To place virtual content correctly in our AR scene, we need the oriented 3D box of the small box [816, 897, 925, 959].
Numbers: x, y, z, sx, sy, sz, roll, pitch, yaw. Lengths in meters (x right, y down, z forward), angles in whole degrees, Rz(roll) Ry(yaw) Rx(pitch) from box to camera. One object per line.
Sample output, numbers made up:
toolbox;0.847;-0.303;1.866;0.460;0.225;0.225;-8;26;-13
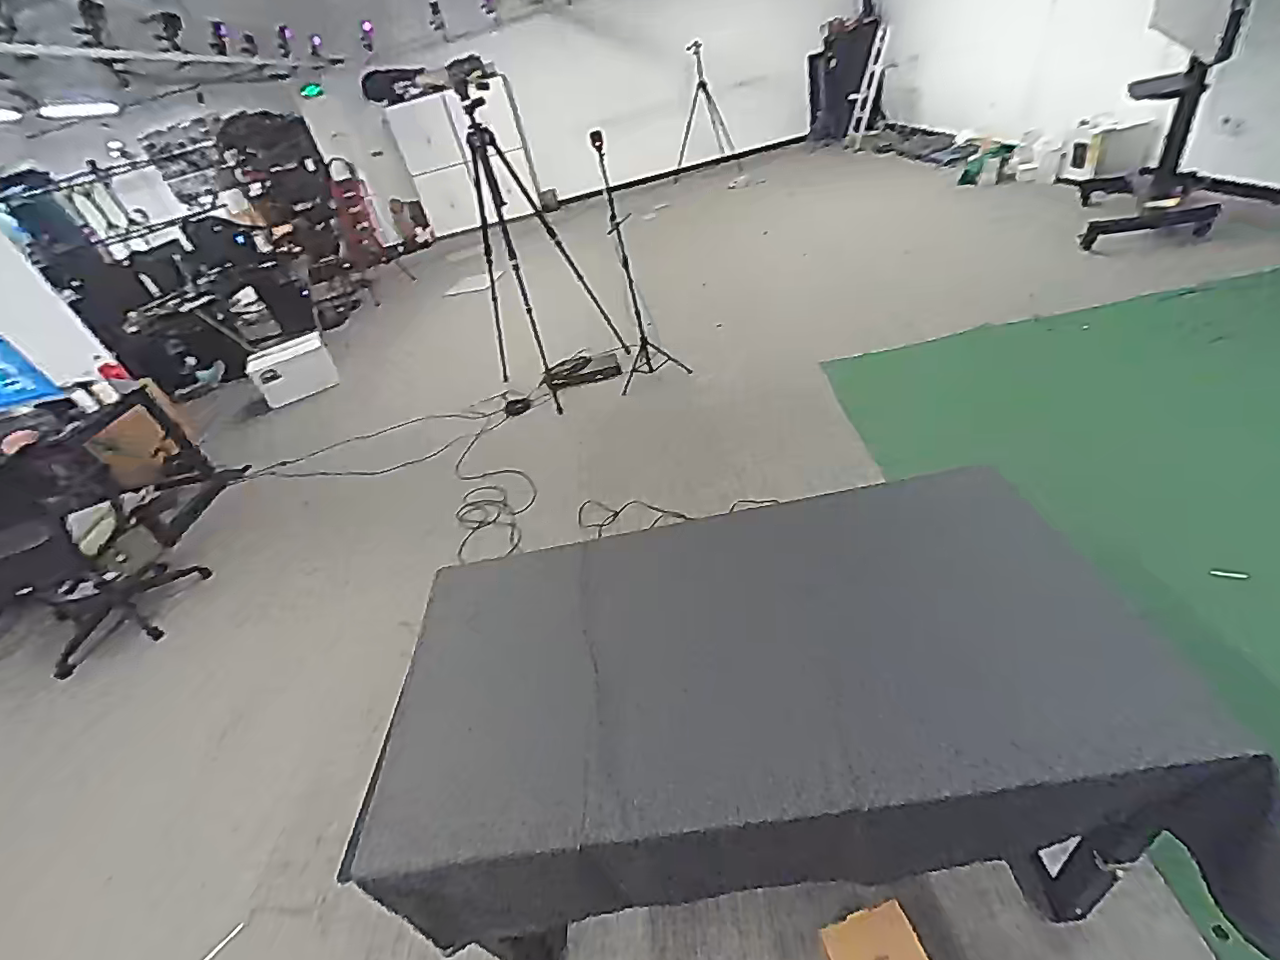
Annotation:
small box;0.451;0.945;1.026;0.168;0.176;0.179;-19;36;-4
